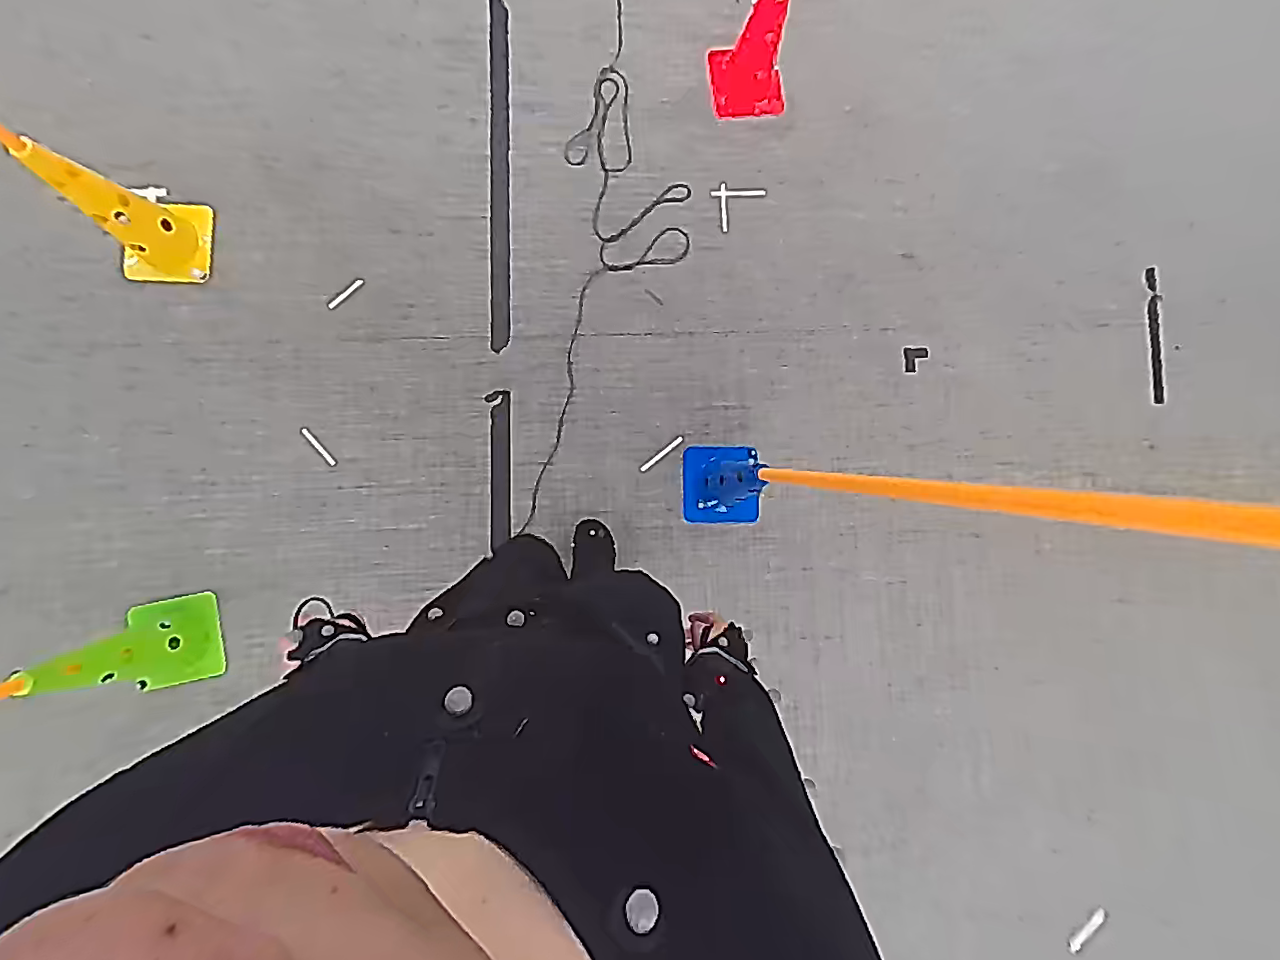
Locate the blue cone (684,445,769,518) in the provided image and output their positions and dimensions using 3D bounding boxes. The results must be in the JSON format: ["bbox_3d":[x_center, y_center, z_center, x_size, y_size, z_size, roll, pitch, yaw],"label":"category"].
[{"bbox_3d":[0.224,-0.010,1.244,0.193,0.380,0.192,2,85,-5],"label":"blue cone"}]

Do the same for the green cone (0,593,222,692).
[{"bbox_3d":[-1.081,0.362,1.099,0.200,0.368,0.202,-12,85,-6],"label":"green cone"}]

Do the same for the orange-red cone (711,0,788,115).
[{"bbox_3d":[0.310,-1.116,1.321,0.199,0.360,0.198,-6,86,-4],"label":"orange-red cone"}]
